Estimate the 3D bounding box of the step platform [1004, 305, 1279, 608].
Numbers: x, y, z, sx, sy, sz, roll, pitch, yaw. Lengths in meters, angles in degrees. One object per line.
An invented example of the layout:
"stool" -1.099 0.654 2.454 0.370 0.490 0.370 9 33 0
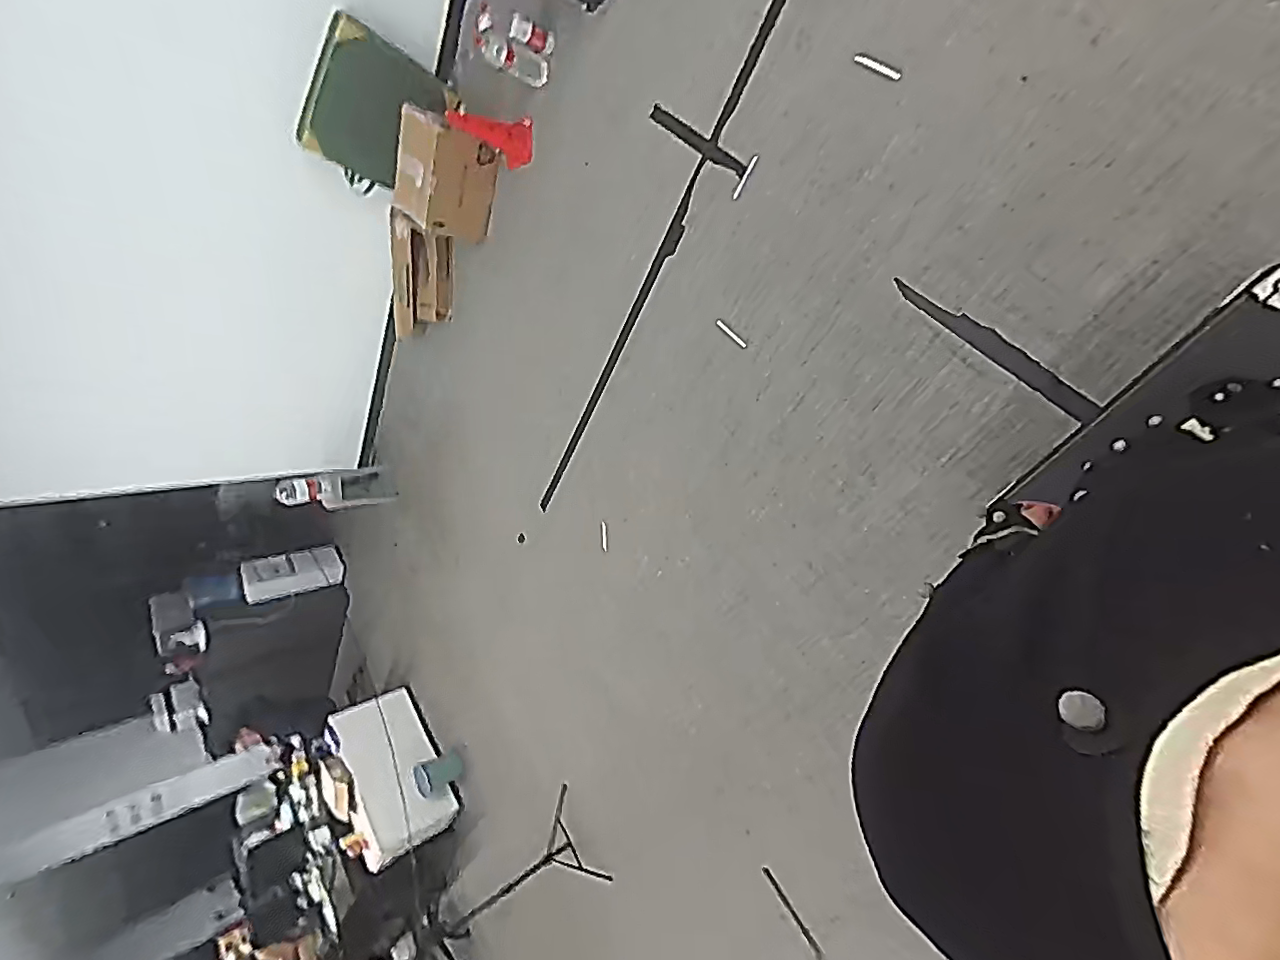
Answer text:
"step platform" 1.087 -0.043 1.037 0.286 0.204 0.684 55 128 24
